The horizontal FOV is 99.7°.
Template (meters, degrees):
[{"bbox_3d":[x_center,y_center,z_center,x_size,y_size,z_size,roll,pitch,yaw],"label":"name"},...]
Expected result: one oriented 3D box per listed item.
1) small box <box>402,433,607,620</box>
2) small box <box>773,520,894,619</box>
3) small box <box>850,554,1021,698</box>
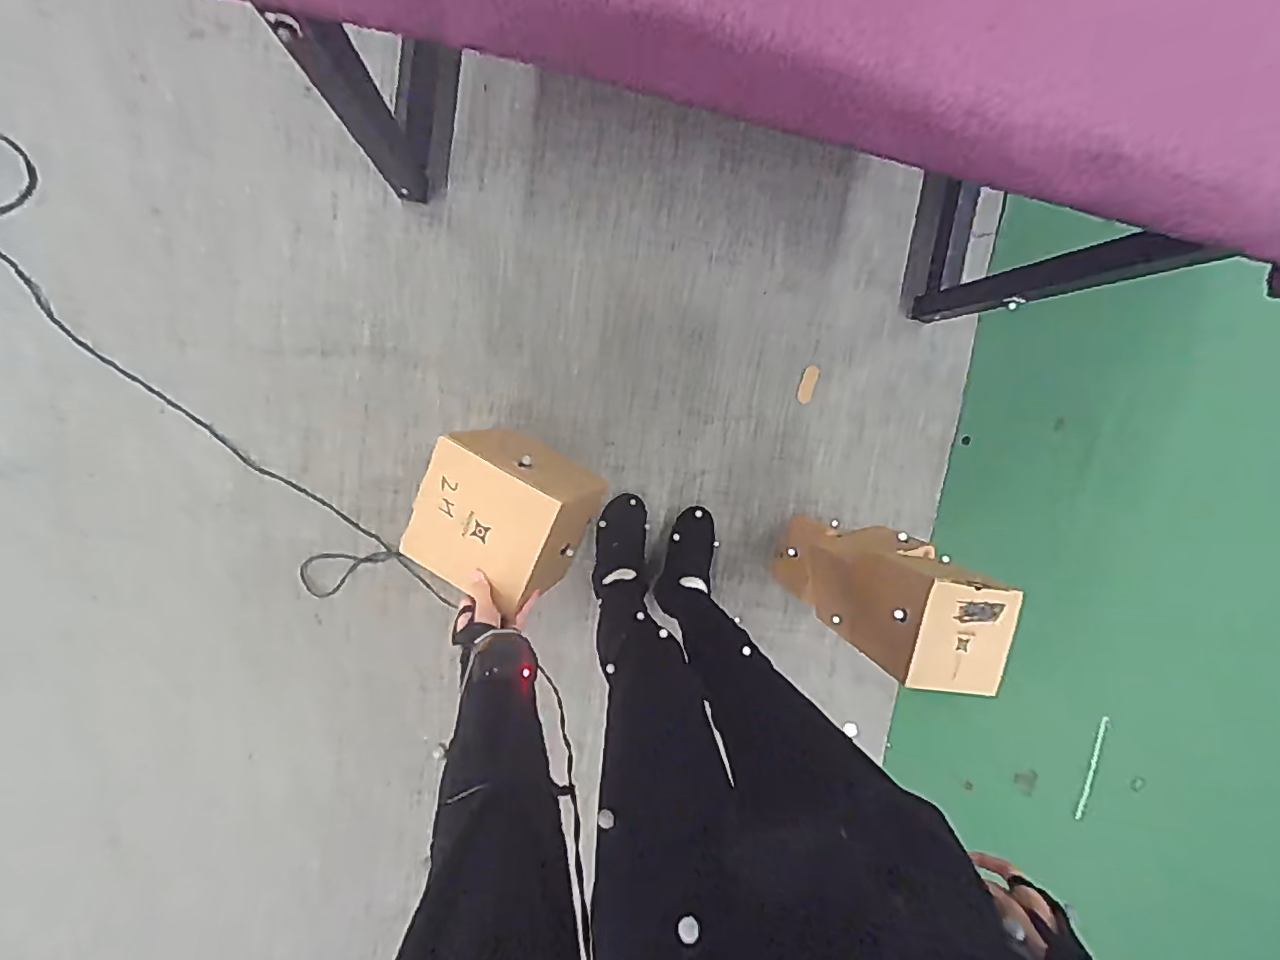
[{"bbox_3d":[-0.167,0.046,0.715,0.179,0.176,0.168,29,105,10],"label":"small box"},{"bbox_3d":[0.429,0.199,1.229,0.179,0.176,0.168,18,95,-10],"label":"small box"},{"bbox_3d":[0.481,0.235,0.906,0.168,0.176,0.179,10,97,-11],"label":"small box"}]
